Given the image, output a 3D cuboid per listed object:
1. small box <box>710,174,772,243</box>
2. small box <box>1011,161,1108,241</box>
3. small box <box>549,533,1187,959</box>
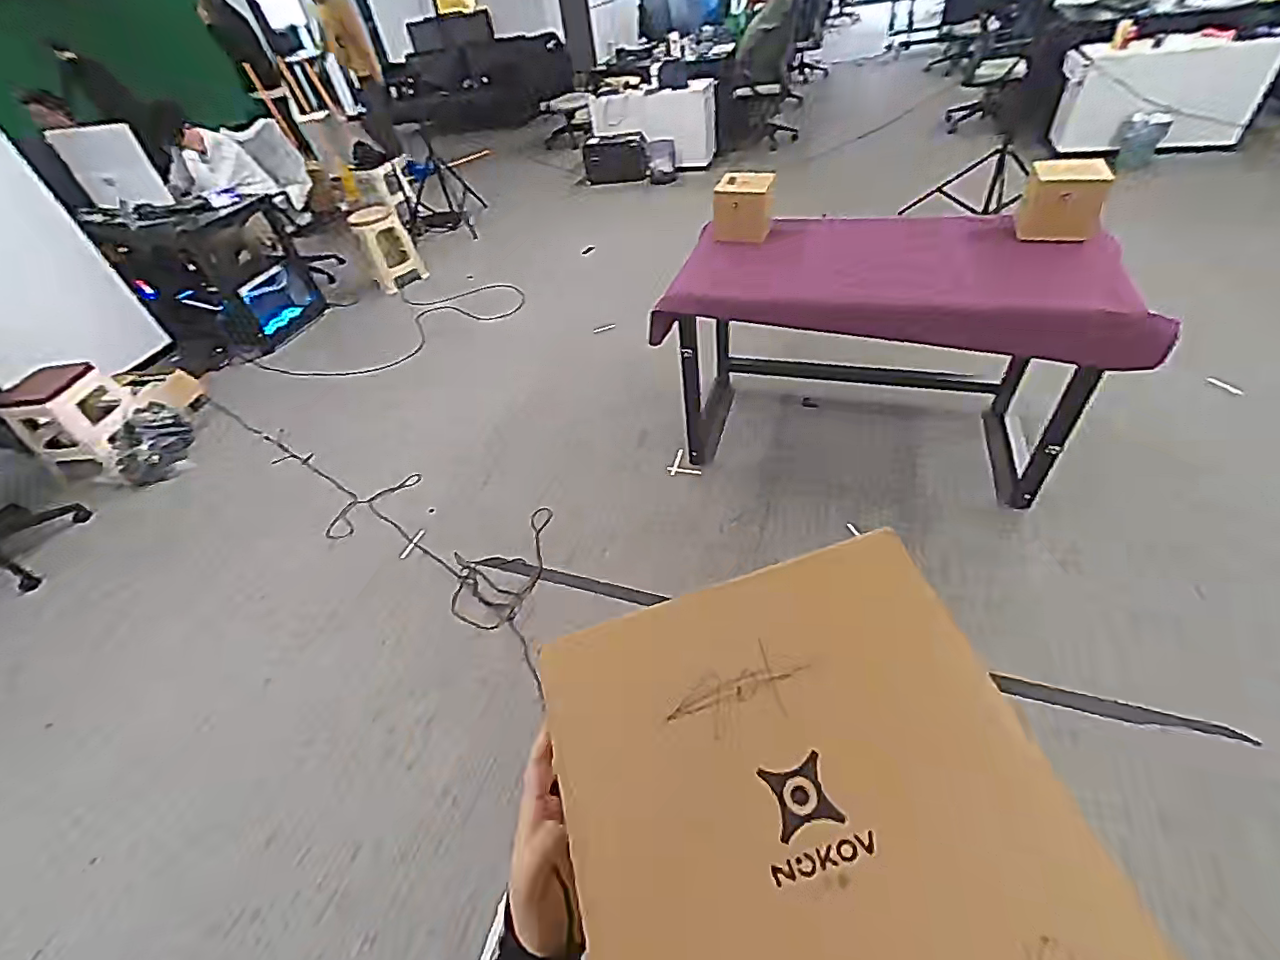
[{"bbox_3d":[0.350,-0.938,1.869,0.179,0.176,0.168,12,50,19],"label":"small box"},{"bbox_3d":[1.223,-0.821,1.595,0.179,0.176,0.168,10,49,18],"label":"small box"},{"bbox_3d":[0.072,0.159,0.253,0.168,0.176,0.179,-18,53,-4],"label":"small box"}]
